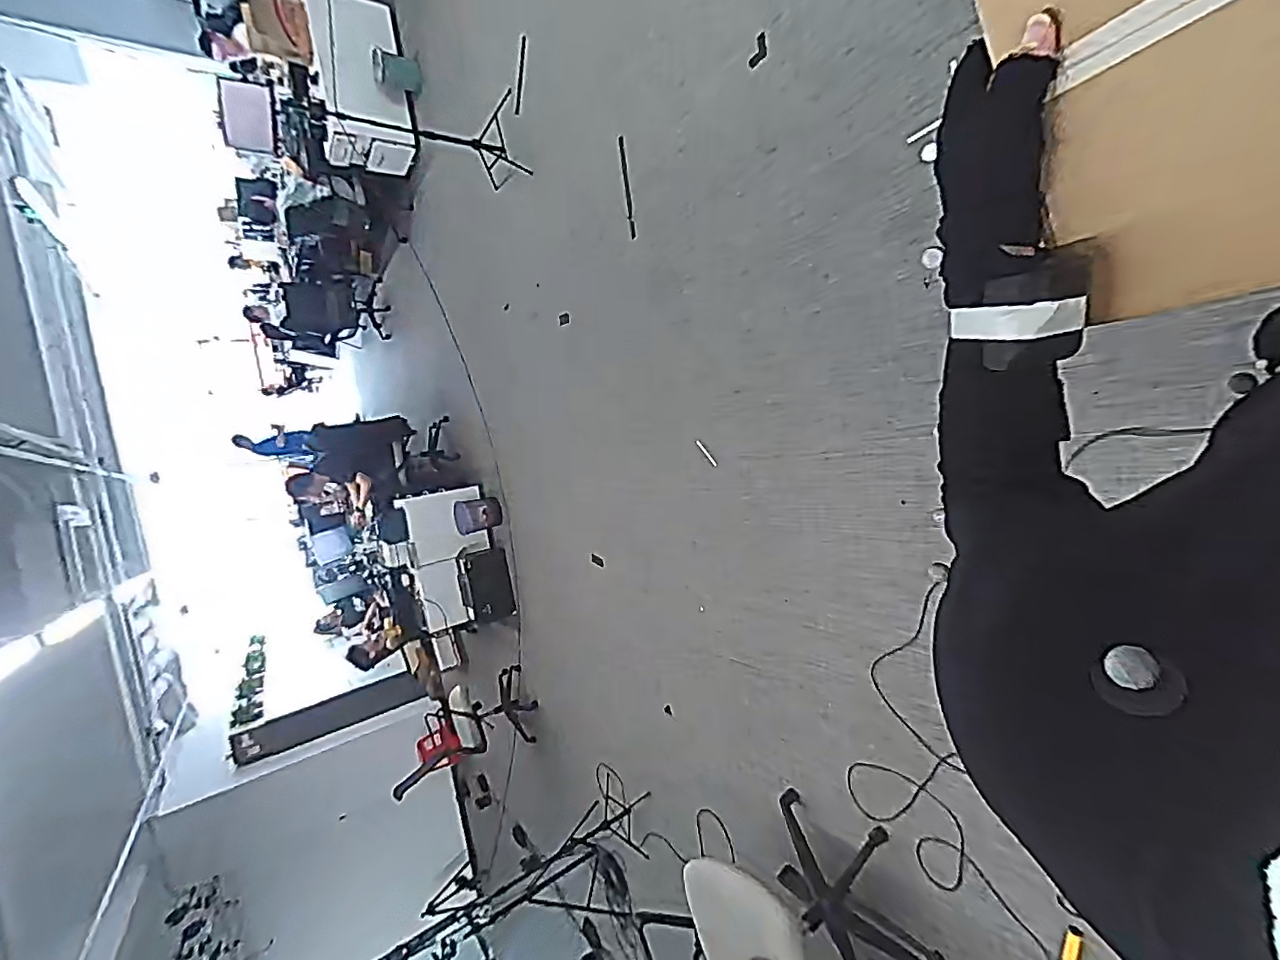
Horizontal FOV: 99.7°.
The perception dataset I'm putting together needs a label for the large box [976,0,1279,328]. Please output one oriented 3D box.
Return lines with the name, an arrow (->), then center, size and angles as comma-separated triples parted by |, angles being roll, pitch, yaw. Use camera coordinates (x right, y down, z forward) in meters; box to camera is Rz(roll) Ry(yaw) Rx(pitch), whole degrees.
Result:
large box -> 0.445, -0.317, 0.240 | 0.408, 0.320, 0.320 | 0, 123, 61
